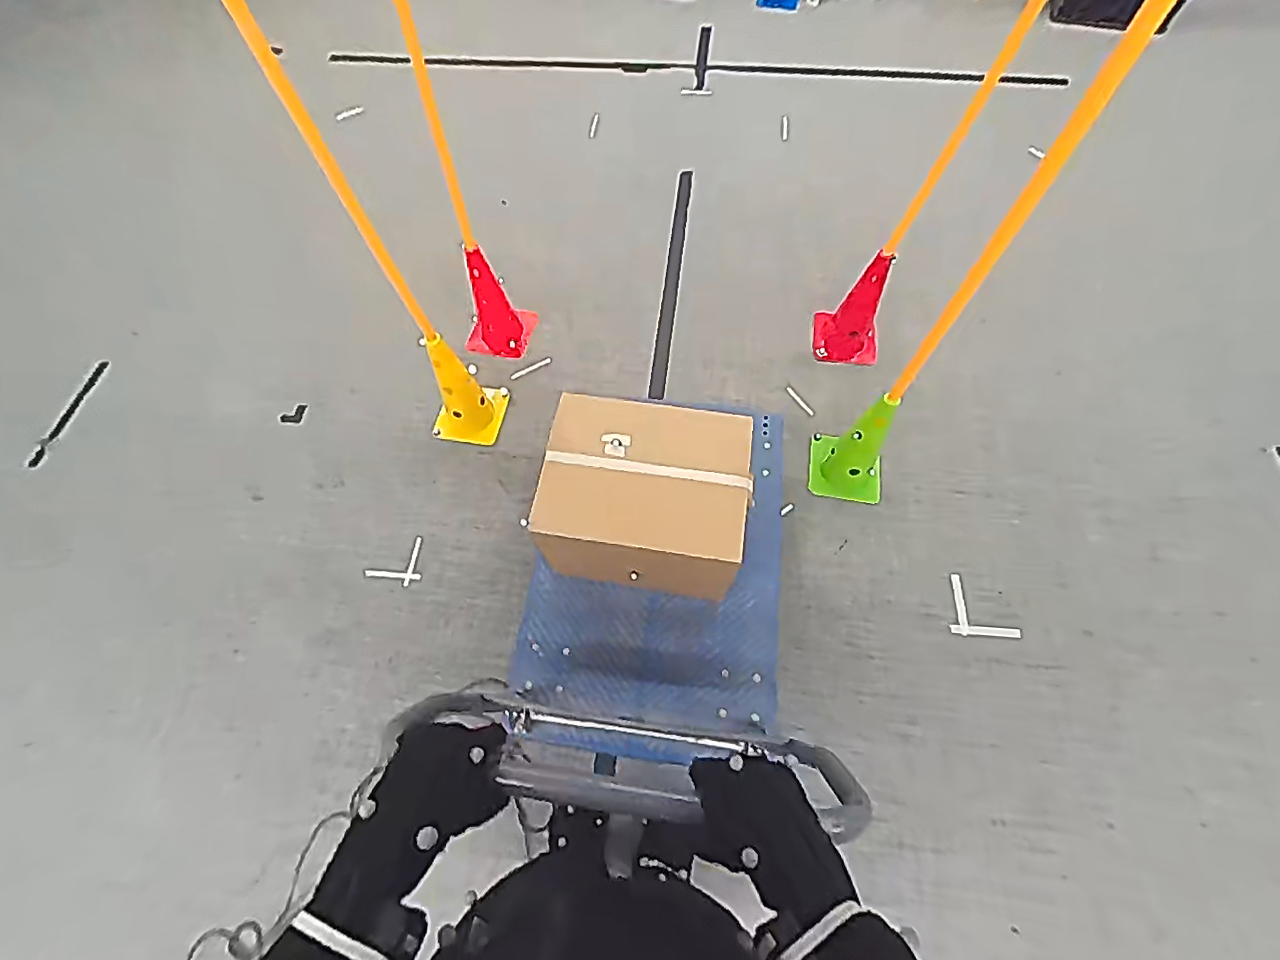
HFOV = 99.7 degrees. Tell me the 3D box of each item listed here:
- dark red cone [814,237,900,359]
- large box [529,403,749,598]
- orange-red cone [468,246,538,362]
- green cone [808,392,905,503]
[{"bbox_3d":[0.670,-0.549,1.611,0.201,0.394,0.202,6,65,3],"label":"dark red cone"},{"bbox_3d":[0.014,0.058,1.199,0.408,0.320,0.320,8,65,6],"label":"large box"},{"bbox_3d":[-0.462,-0.567,1.675,0.198,0.360,0.199,13,64,7],"label":"orange-red cone"},{"bbox_3d":[0.594,-0.108,1.421,0.202,0.368,0.200,9,65,5],"label":"green cone"}]
